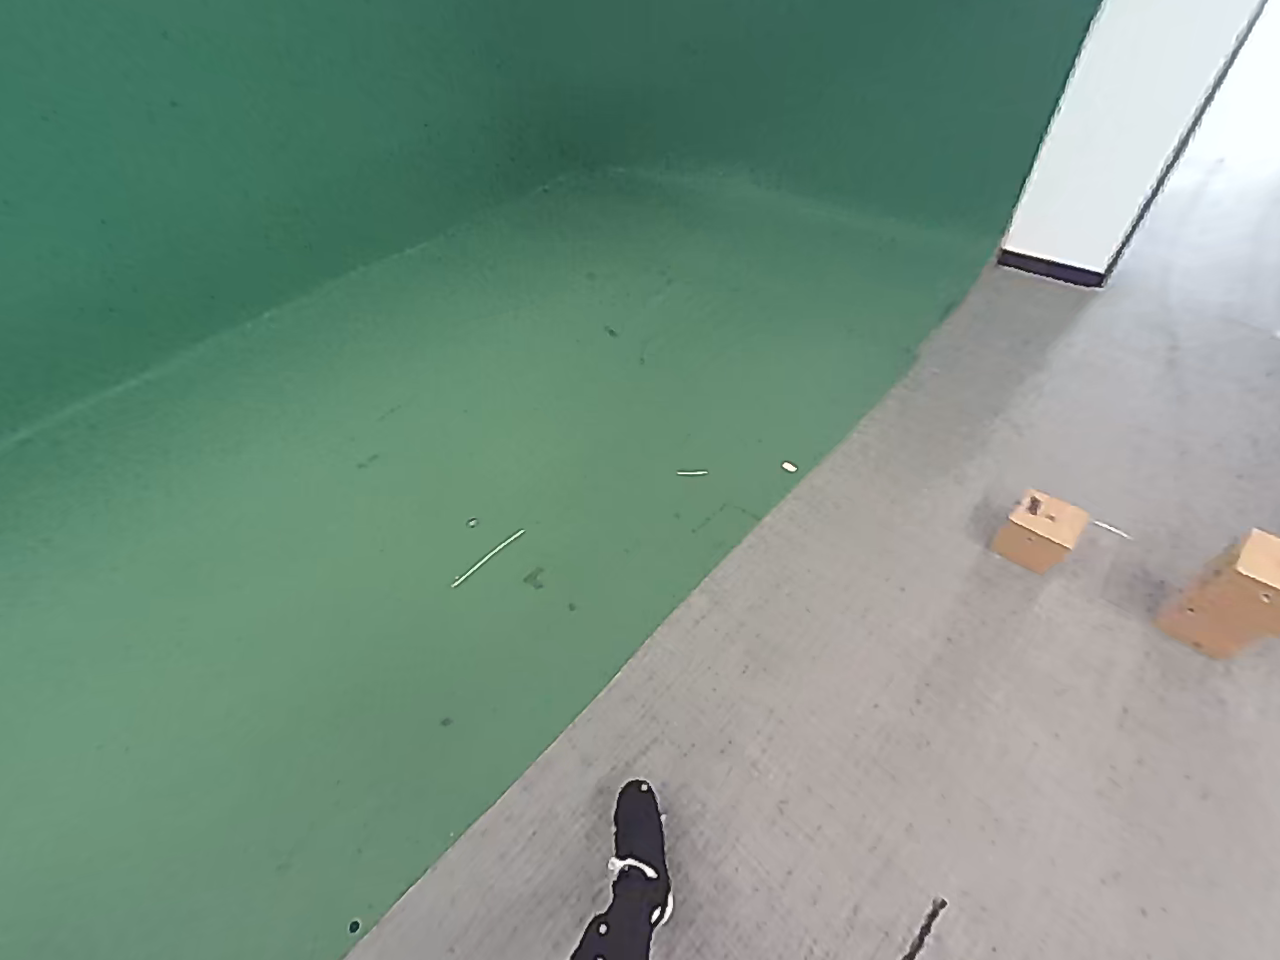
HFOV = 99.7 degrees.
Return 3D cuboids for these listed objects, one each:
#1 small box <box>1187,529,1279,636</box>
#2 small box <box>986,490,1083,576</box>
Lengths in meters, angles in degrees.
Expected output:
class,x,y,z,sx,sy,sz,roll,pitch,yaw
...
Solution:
class,x,y,z,sx,sy,sz,roll,pitch,yaw
small box,1.561,0.264,1.373,0.179,0.176,0.168,35,62,30
small box,1.242,0.171,1.715,0.179,0.176,0.168,33,61,29
